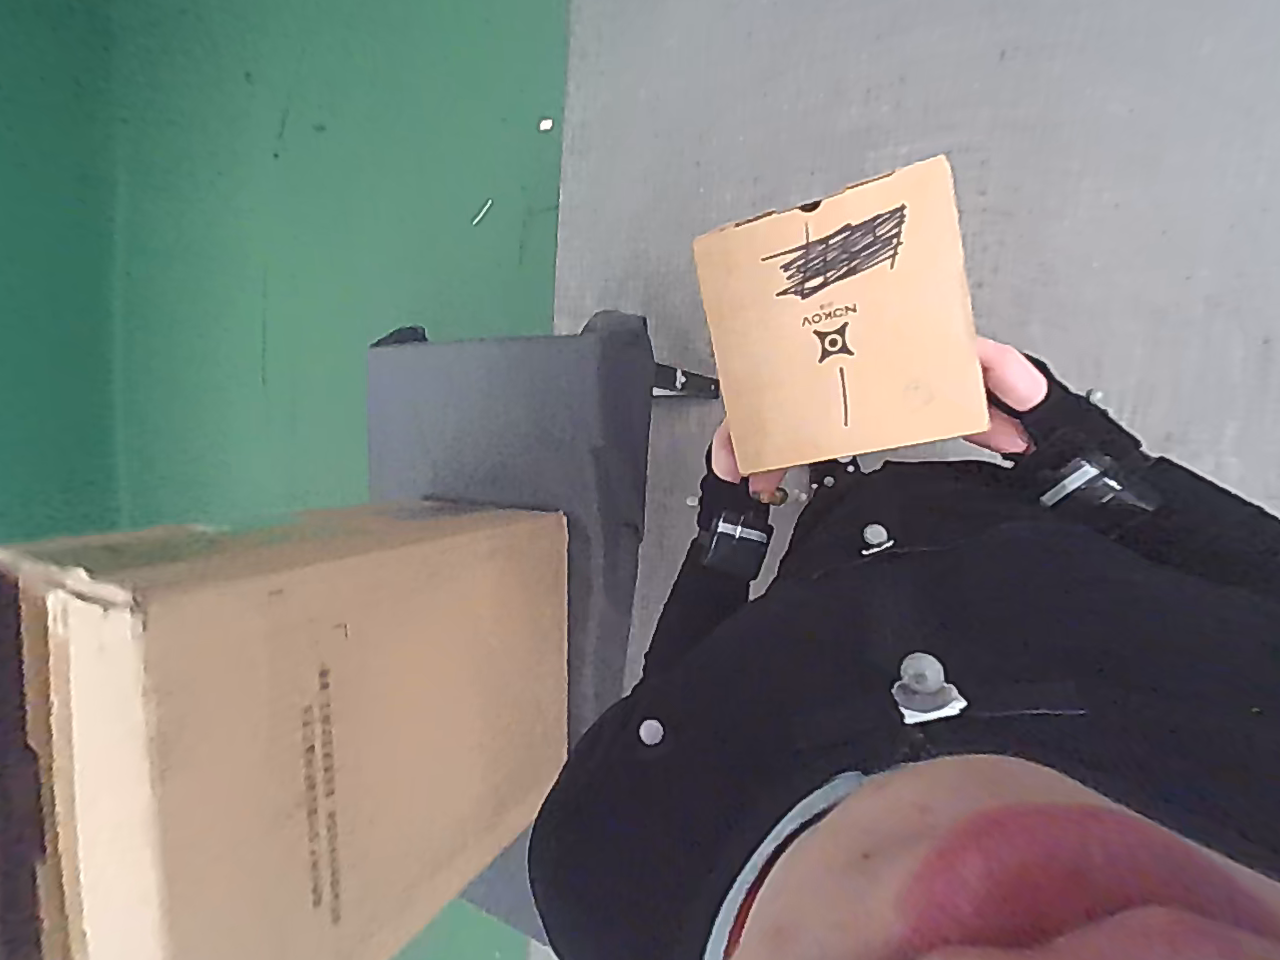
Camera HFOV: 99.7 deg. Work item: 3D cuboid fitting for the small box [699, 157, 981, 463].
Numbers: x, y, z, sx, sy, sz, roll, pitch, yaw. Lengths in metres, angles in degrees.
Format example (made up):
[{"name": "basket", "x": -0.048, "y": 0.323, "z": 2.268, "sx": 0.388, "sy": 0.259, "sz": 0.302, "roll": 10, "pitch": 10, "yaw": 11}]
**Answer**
[{"name": "small box", "x": 0.156, "y": -0.119, "z": 0.445, "sx": 0.168, "sy": 0.176, "sz": 0.179, "roll": -9, "pitch": 97, "yaw": 20}]
